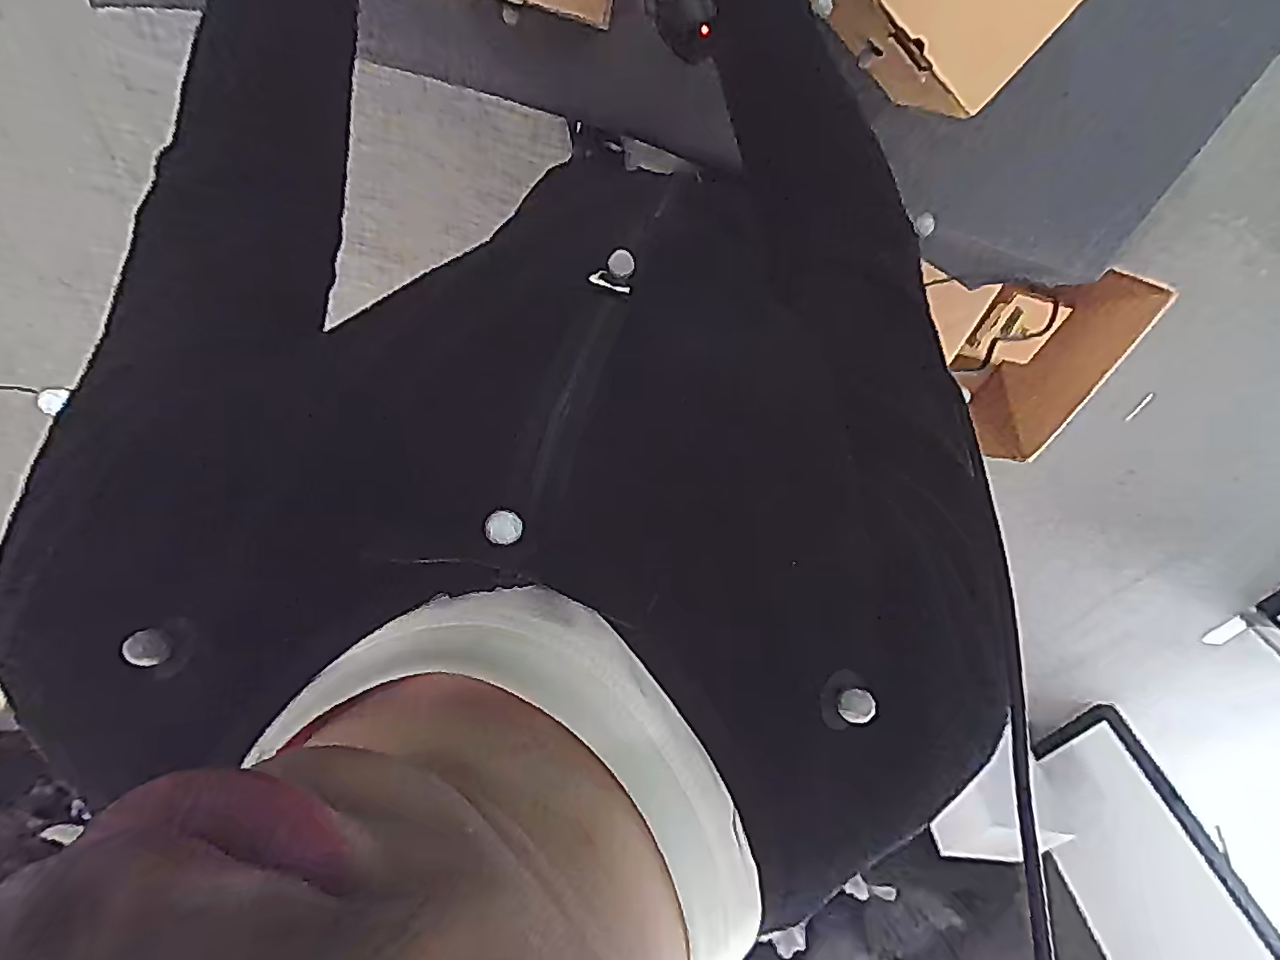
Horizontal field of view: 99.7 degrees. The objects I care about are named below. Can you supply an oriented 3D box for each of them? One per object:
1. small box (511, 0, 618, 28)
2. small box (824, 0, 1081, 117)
[{"bbox_3d":[-0.084,-0.487,0.422,0.168,0.176,0.179,10,129,-9],"label":"small box"},{"bbox_3d":[0.279,-0.466,0.472,0.168,0.176,0.179,31,124,-24],"label":"small box"}]
